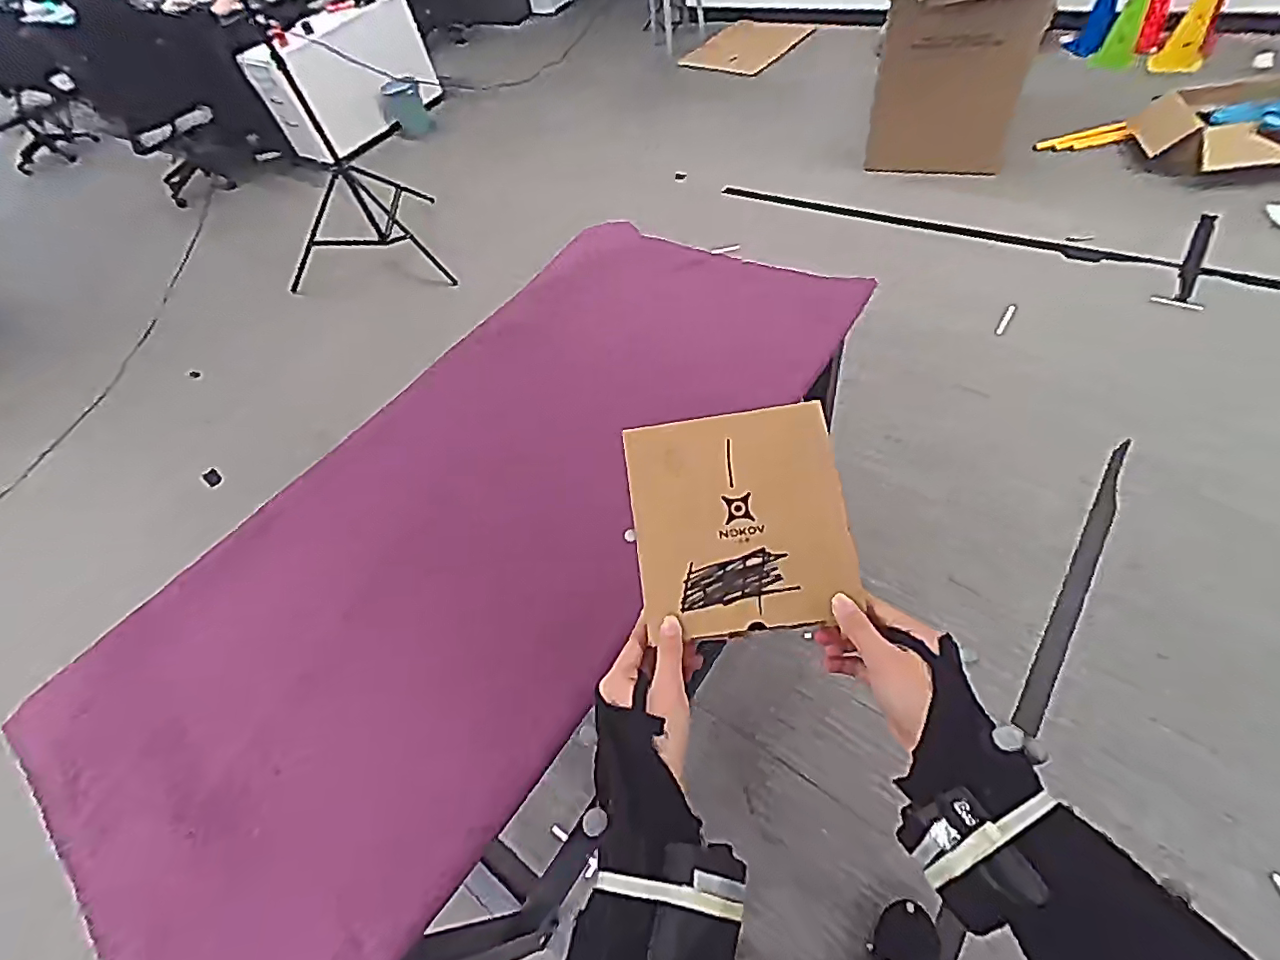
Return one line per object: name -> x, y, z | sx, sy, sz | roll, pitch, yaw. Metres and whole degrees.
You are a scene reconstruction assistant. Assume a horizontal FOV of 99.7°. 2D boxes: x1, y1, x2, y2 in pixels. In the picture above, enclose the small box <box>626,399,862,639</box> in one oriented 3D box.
small box -> 0.085, 0.044, 0.504 | 0.168, 0.176, 0.179 | -8, 76, 3
